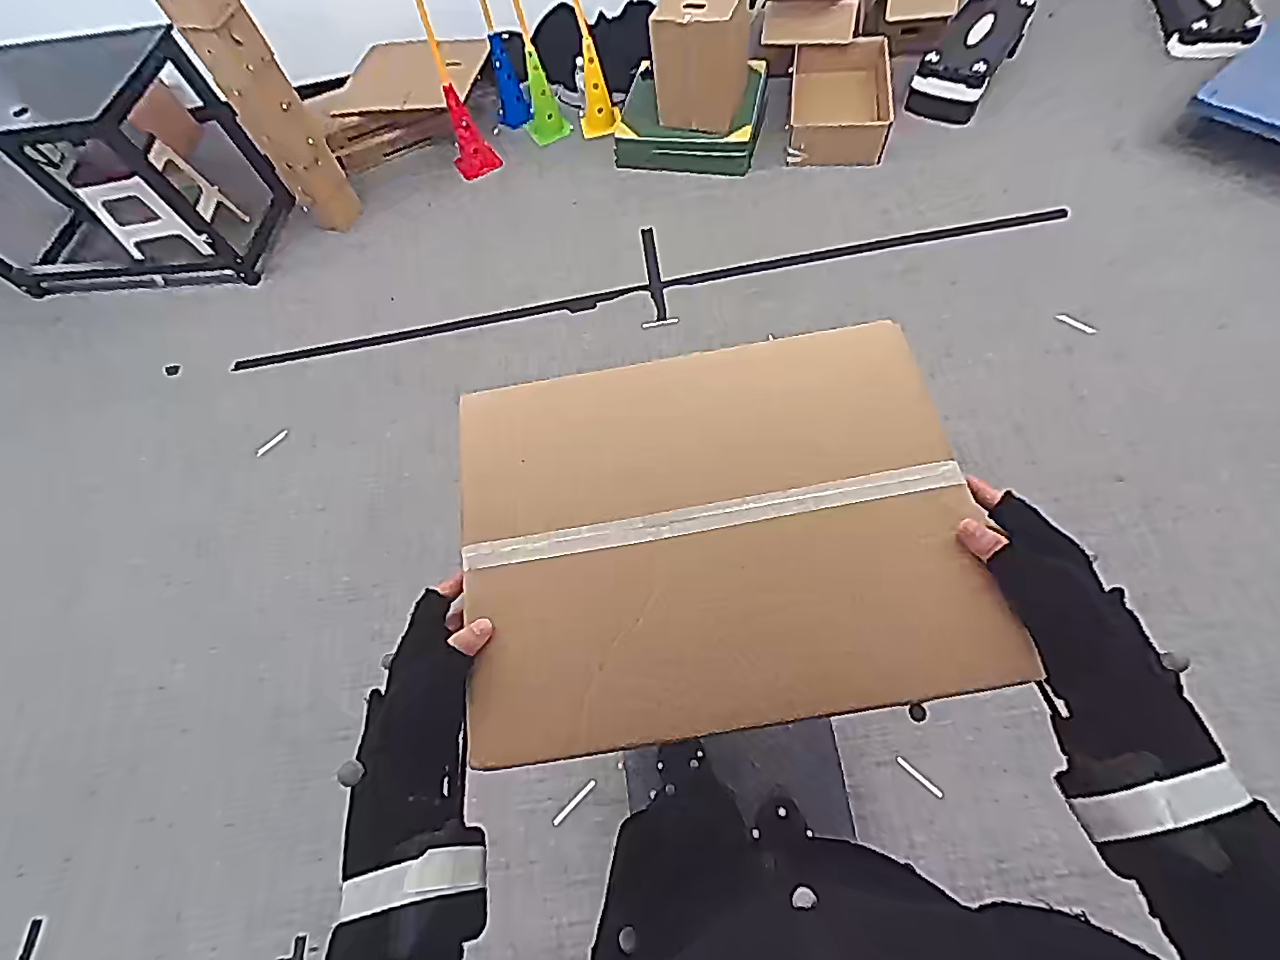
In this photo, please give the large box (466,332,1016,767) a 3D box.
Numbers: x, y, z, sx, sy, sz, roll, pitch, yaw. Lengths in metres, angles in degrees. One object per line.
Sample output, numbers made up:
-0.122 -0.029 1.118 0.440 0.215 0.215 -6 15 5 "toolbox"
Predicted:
0.069 0.089 0.583 0.408 0.320 0.320 -9 67 1 "large box"
